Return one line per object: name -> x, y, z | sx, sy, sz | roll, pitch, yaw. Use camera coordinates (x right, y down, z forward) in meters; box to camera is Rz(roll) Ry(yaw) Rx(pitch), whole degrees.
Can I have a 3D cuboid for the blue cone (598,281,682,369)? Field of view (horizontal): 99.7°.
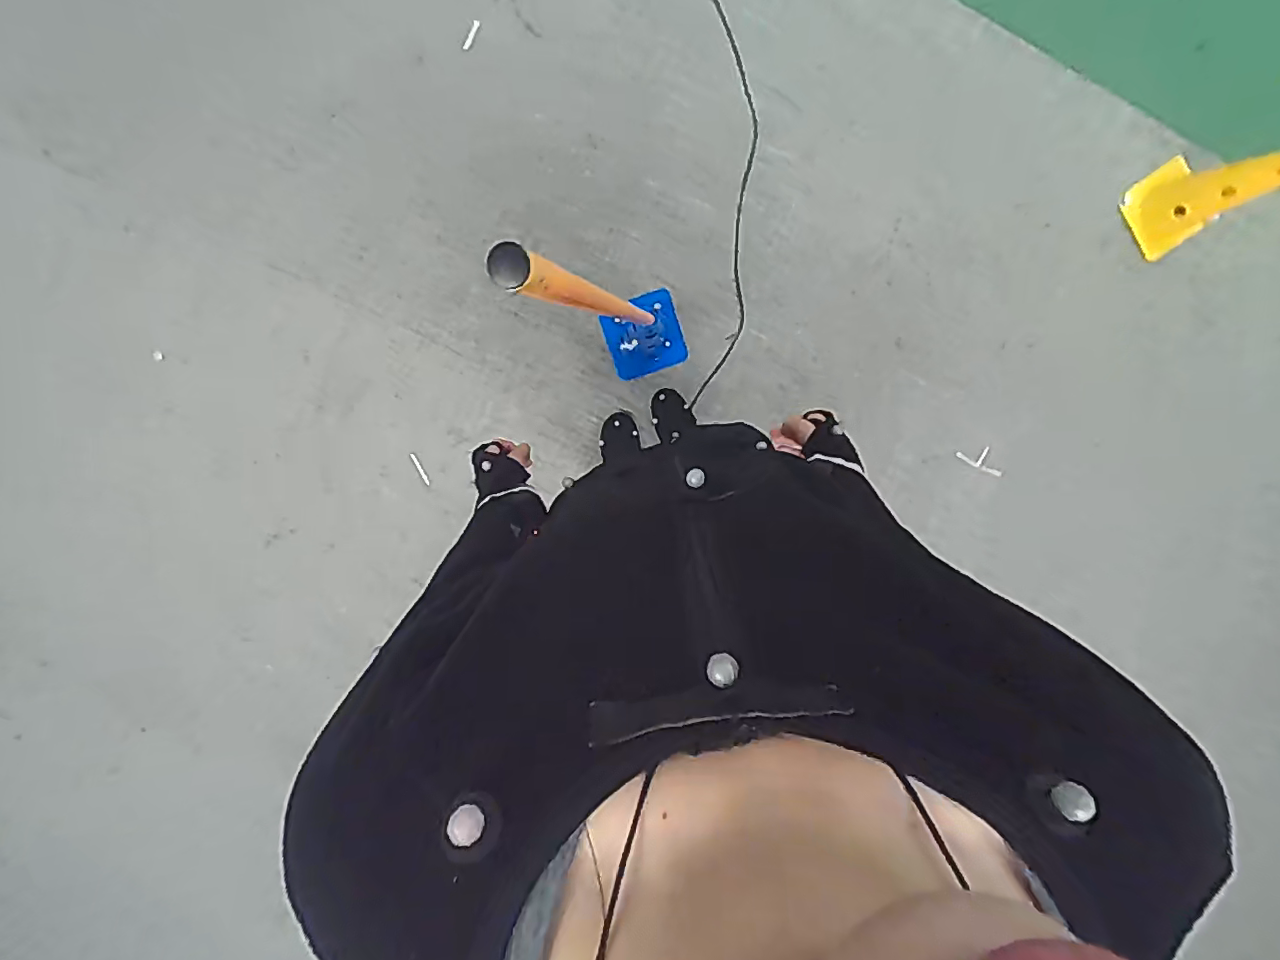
blue cone -> 0.005, -0.369, 1.255 | 0.193, 0.380, 0.192 | -20, 100, 3
